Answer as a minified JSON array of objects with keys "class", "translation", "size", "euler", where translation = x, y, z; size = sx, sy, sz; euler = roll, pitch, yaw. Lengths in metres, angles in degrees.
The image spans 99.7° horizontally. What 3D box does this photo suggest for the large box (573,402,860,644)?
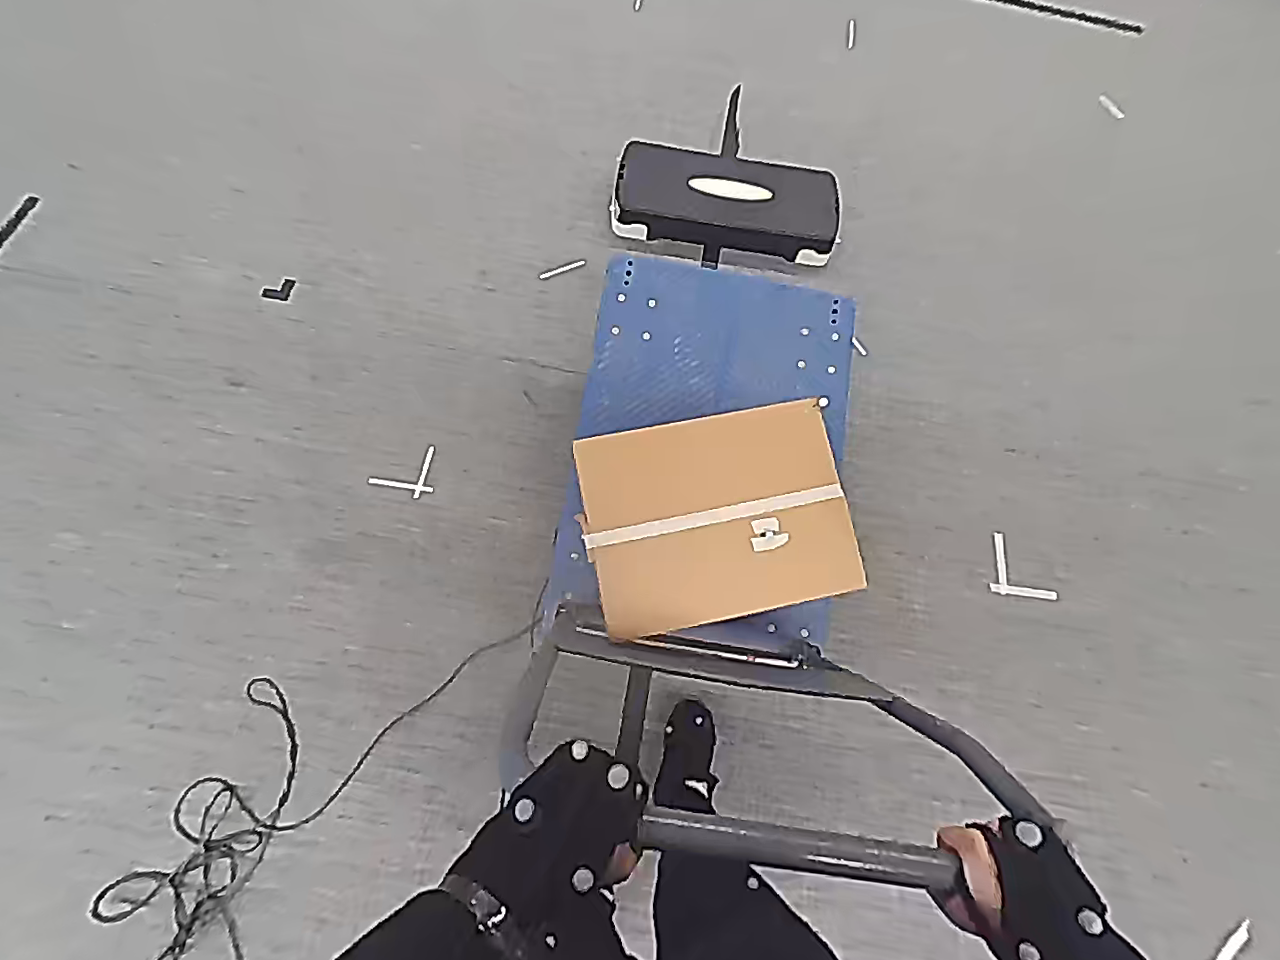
[{"class":"large box","translation":[0.107,0.084,0.986],"size":[0.408,0.320,0.320],"euler":[-11,82,-7]}]
